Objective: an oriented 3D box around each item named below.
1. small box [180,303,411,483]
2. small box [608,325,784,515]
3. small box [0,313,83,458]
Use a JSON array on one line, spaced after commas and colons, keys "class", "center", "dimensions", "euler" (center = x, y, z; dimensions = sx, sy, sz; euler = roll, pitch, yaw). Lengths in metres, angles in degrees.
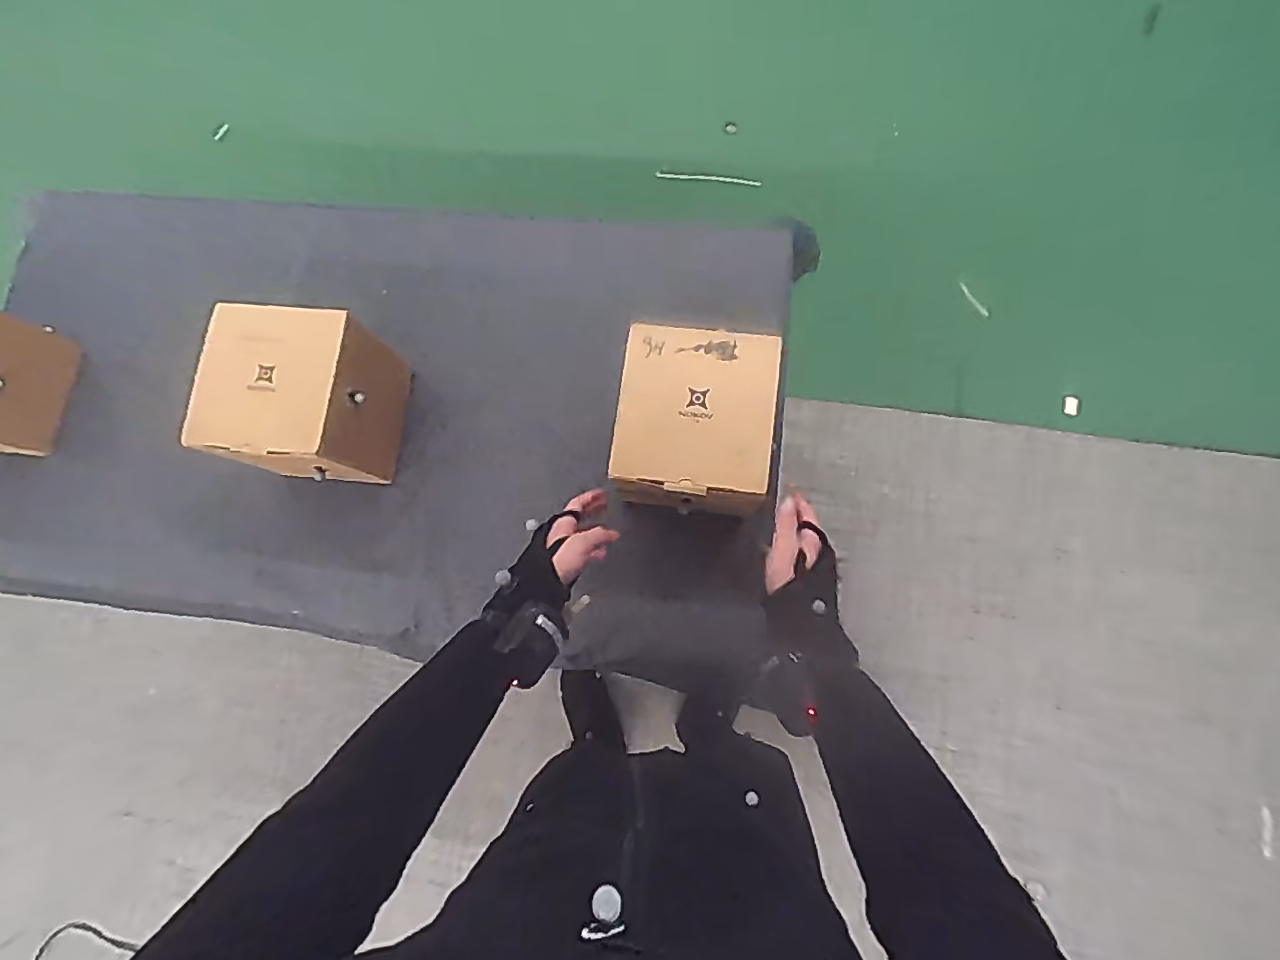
[{"class": "small box", "center": [-0.416, -0.099, 0.686], "dimensions": [0.168, 0.176, 0.179], "euler": [5, 77, 4]}, {"class": "small box", "center": [0.067, -0.059, 0.636], "dimensions": [0.168, 0.176, 0.179], "euler": [7, 80, 6]}, {"class": "small box", "center": [-0.930, -0.141, 0.732], "dimensions": [0.168, 0.176, 0.179], "euler": [5, 78, 6]}]
